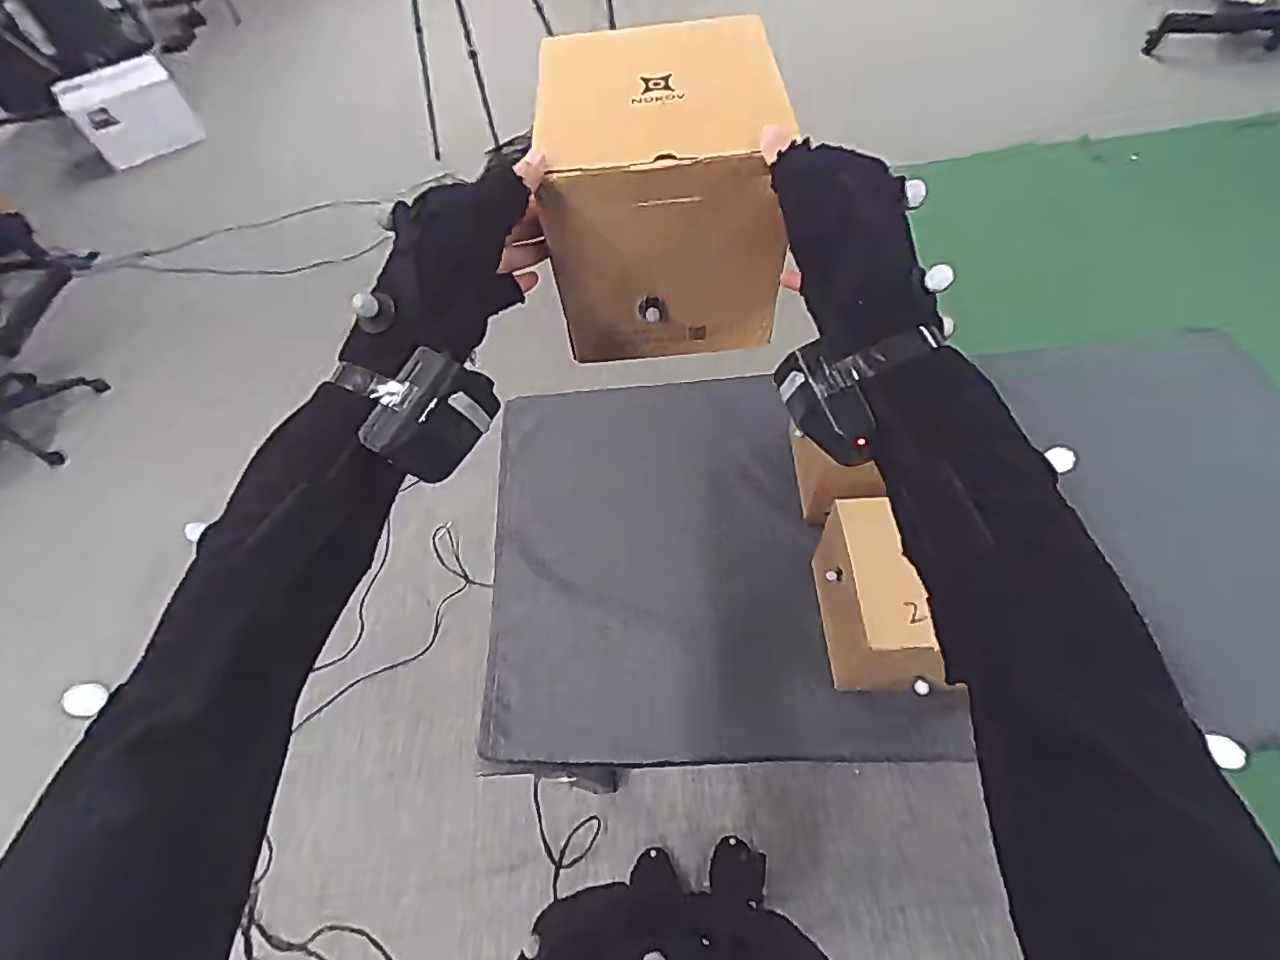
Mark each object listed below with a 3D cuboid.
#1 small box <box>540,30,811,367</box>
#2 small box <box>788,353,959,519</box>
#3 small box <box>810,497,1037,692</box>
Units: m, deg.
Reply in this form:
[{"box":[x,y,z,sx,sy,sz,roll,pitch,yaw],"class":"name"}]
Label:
[{"box":[0.022,-0.215,0.432,0.168,0.176,0.179,-5,61,2],"class":"small box"},{"box":[0.310,-0.053,0.761,0.168,0.176,0.179,-3,57,5],"class":"small box"},{"box":[0.308,0.138,0.636,0.168,0.176,0.179,-3,56,4],"class":"small box"}]
